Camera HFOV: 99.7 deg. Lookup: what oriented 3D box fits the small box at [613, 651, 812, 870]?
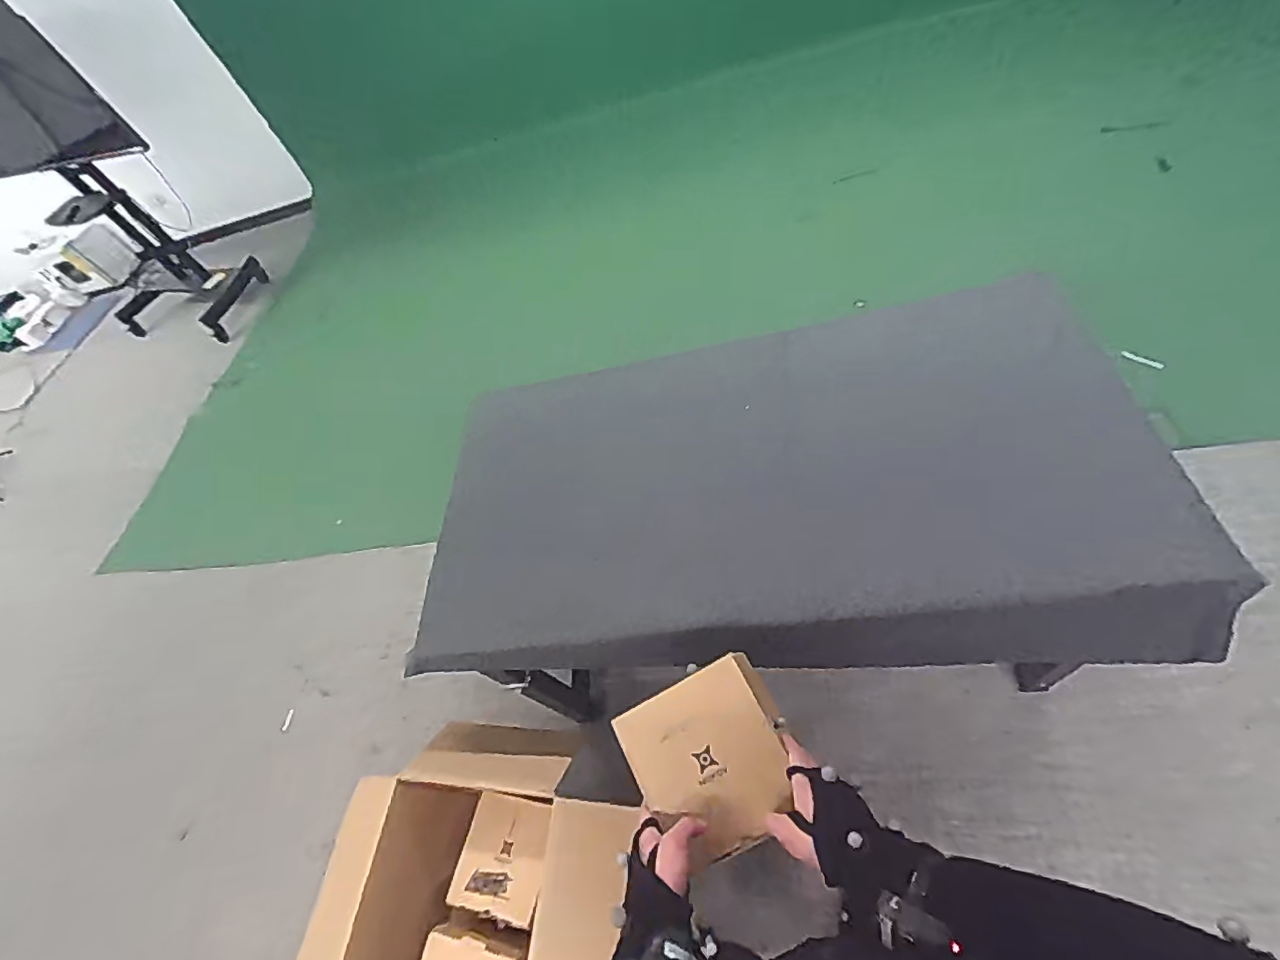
[{"bbox_3d":[0.096,0.328,0.672,0.168,0.176,0.179,-31,67,4],"label":"small box"}]
